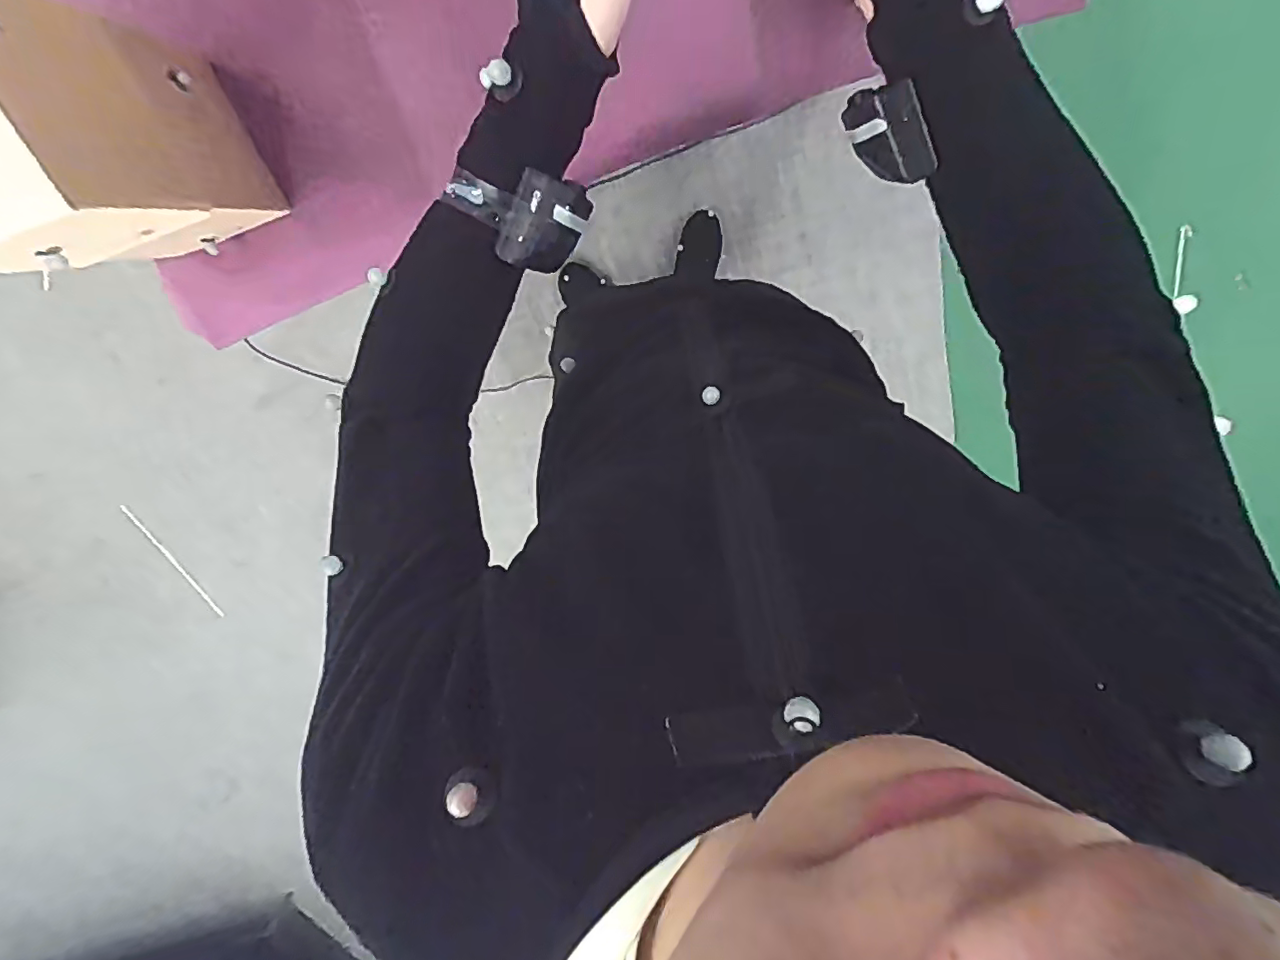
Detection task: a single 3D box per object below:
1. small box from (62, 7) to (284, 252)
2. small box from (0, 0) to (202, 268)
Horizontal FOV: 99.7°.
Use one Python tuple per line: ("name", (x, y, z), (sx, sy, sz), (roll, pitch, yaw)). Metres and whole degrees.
("small box", (-0.557, -0.367, 0.606), (0.168, 0.176, 0.179), (-18, 115, 6))
("small box", (-0.543, -0.293, 0.463), (0.168, 0.176, 0.179), (-17, 114, 6))
